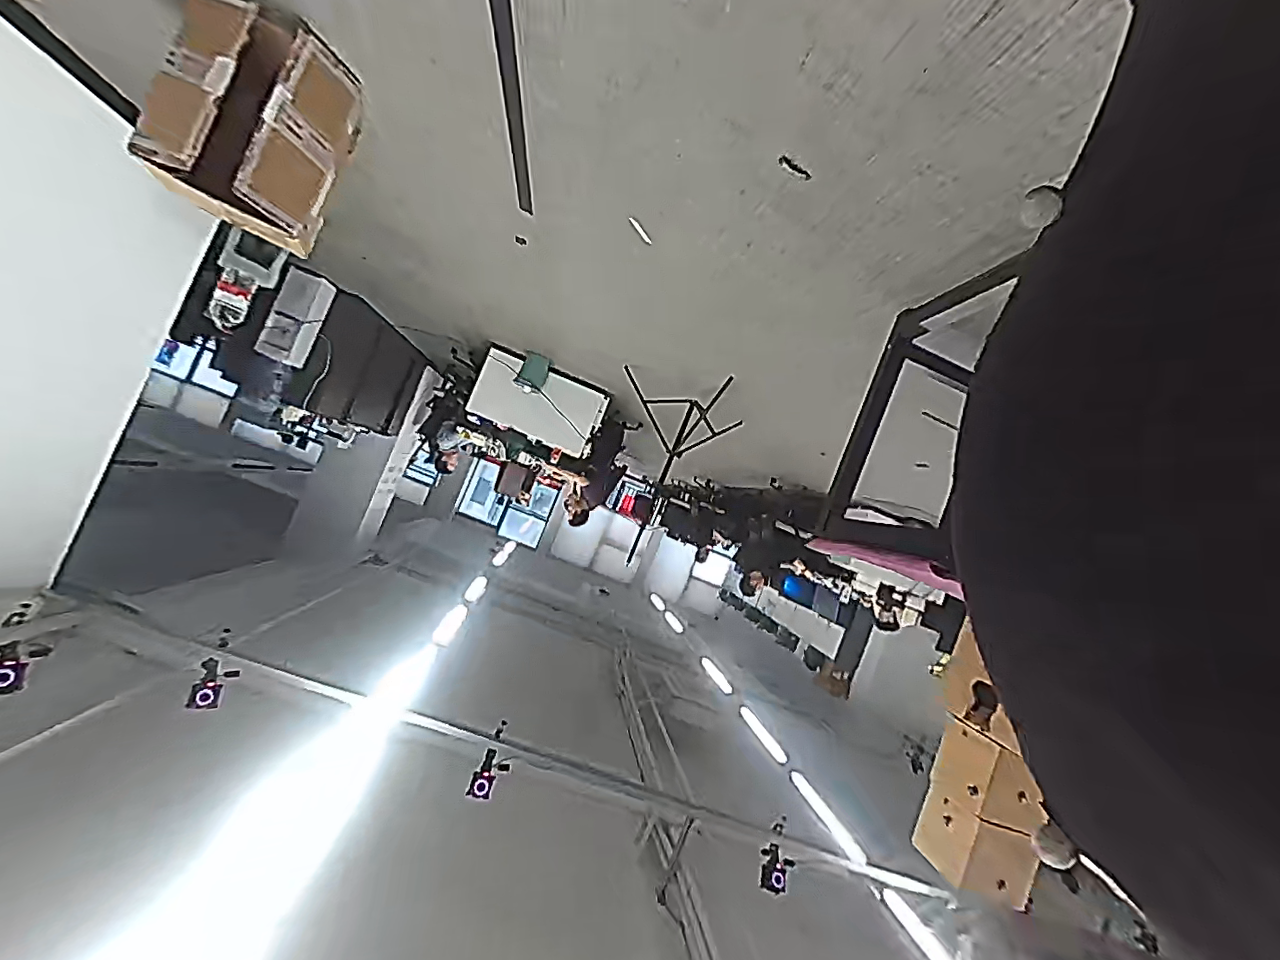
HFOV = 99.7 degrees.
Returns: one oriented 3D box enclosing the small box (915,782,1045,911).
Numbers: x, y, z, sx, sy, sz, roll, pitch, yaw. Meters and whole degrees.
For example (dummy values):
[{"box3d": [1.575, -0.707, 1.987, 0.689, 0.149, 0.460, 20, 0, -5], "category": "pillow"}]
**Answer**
[{"box3d": [0.799, 0.851, 1.272, 0.179, 0.176, 0.168, 21, 178, -7], "category": "small box"}]
